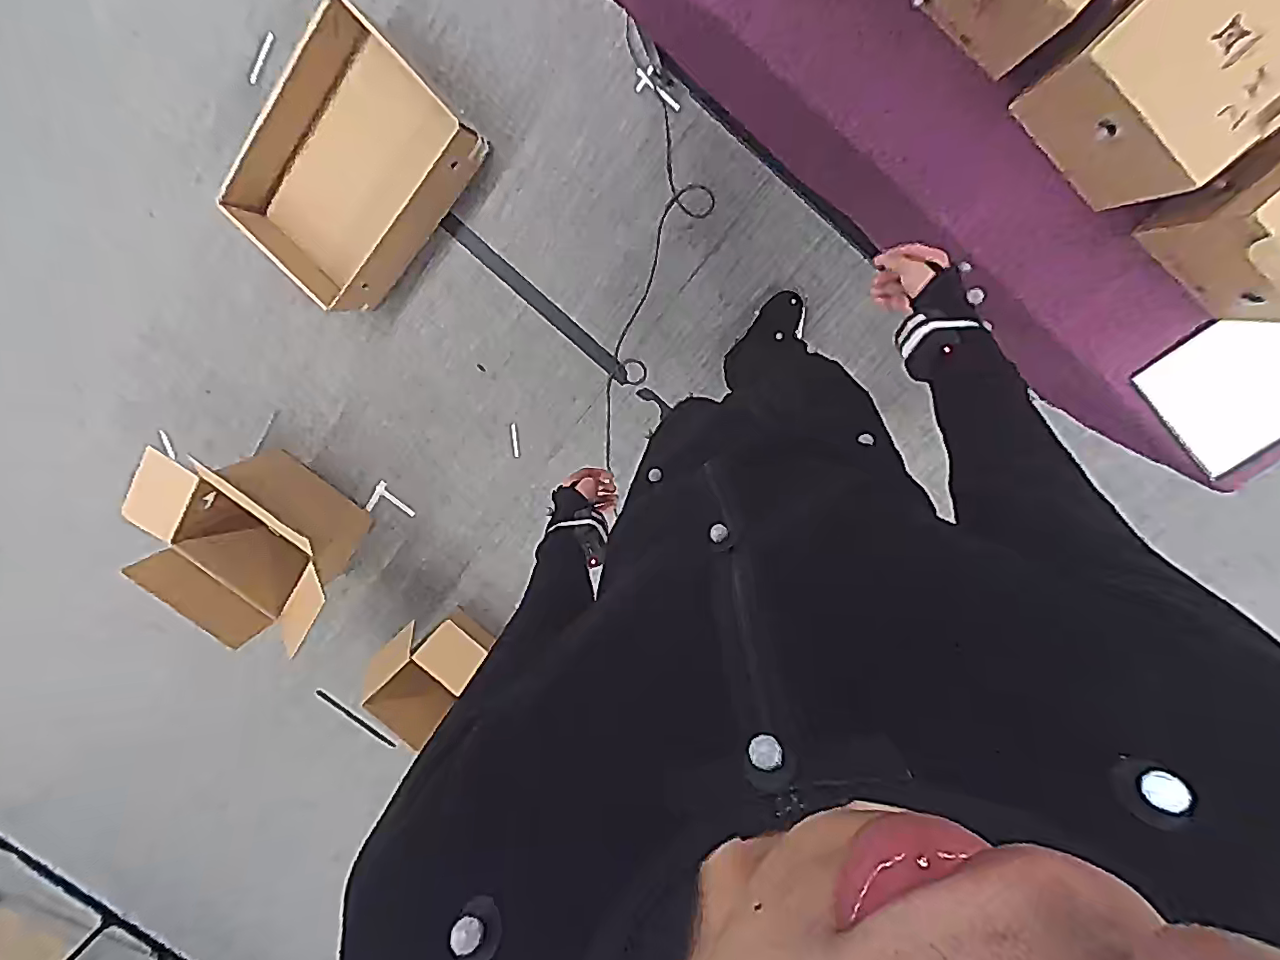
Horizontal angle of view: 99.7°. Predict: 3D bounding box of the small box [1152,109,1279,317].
[{"bbox_3d":[0.716,-0.289,0.577,0.168,0.176,0.179,41,110,-6],"label":"small box"}]
